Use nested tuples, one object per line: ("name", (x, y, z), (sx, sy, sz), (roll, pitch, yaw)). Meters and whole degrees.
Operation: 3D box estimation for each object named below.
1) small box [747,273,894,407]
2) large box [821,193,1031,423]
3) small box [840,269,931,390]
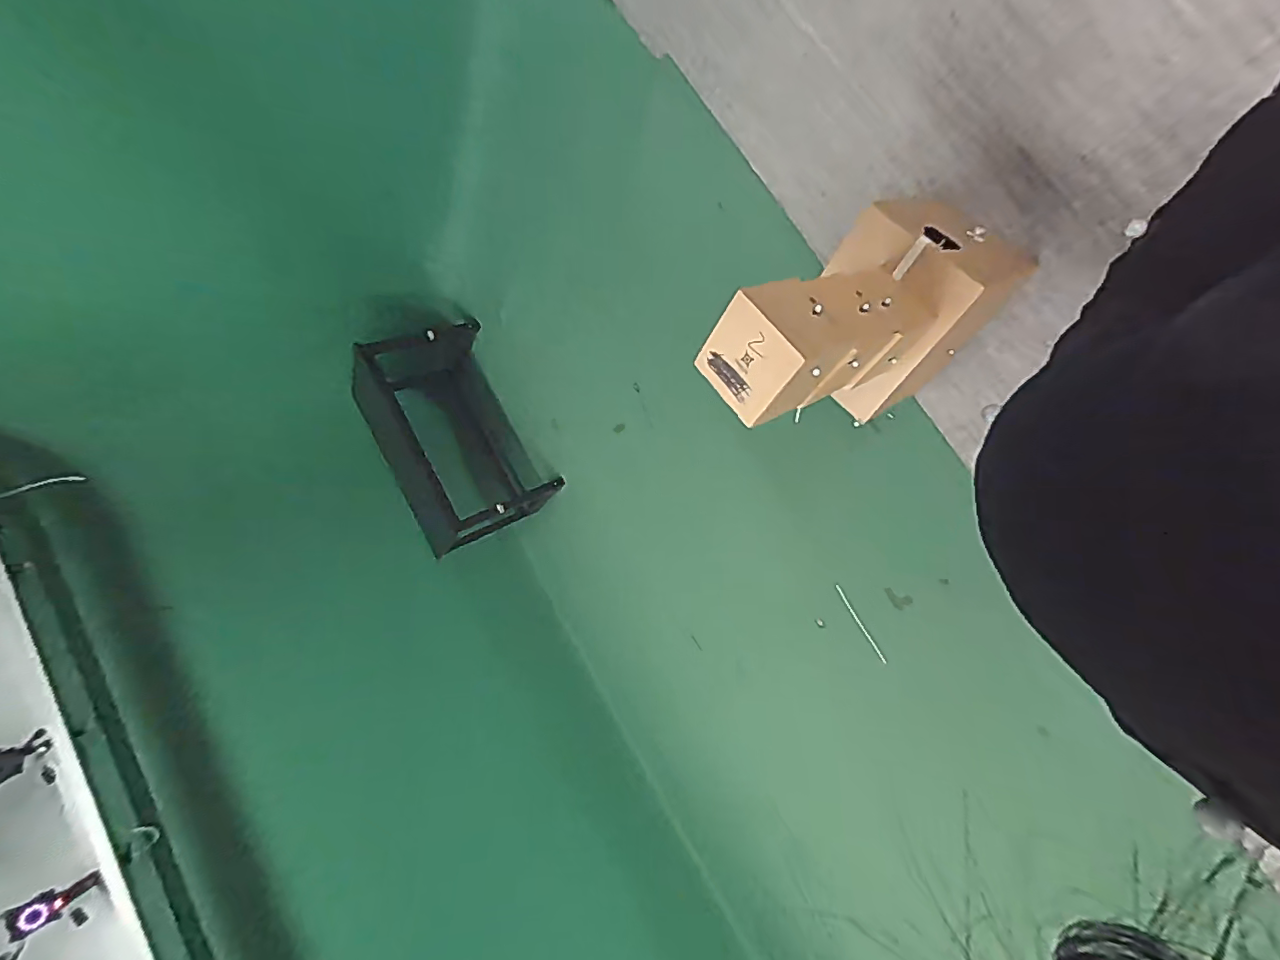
("small box", (0.352, -0.276, 1.057), (0.168, 0.176, 0.179), (53, 143, 14))
("large box", (0.628, -0.421, 1.323), (0.320, 0.320, 0.408), (50, 144, 21))
("small box", (0.474, -0.326, 1.152), (0.179, 0.176, 0.168), (53, 143, 15))
